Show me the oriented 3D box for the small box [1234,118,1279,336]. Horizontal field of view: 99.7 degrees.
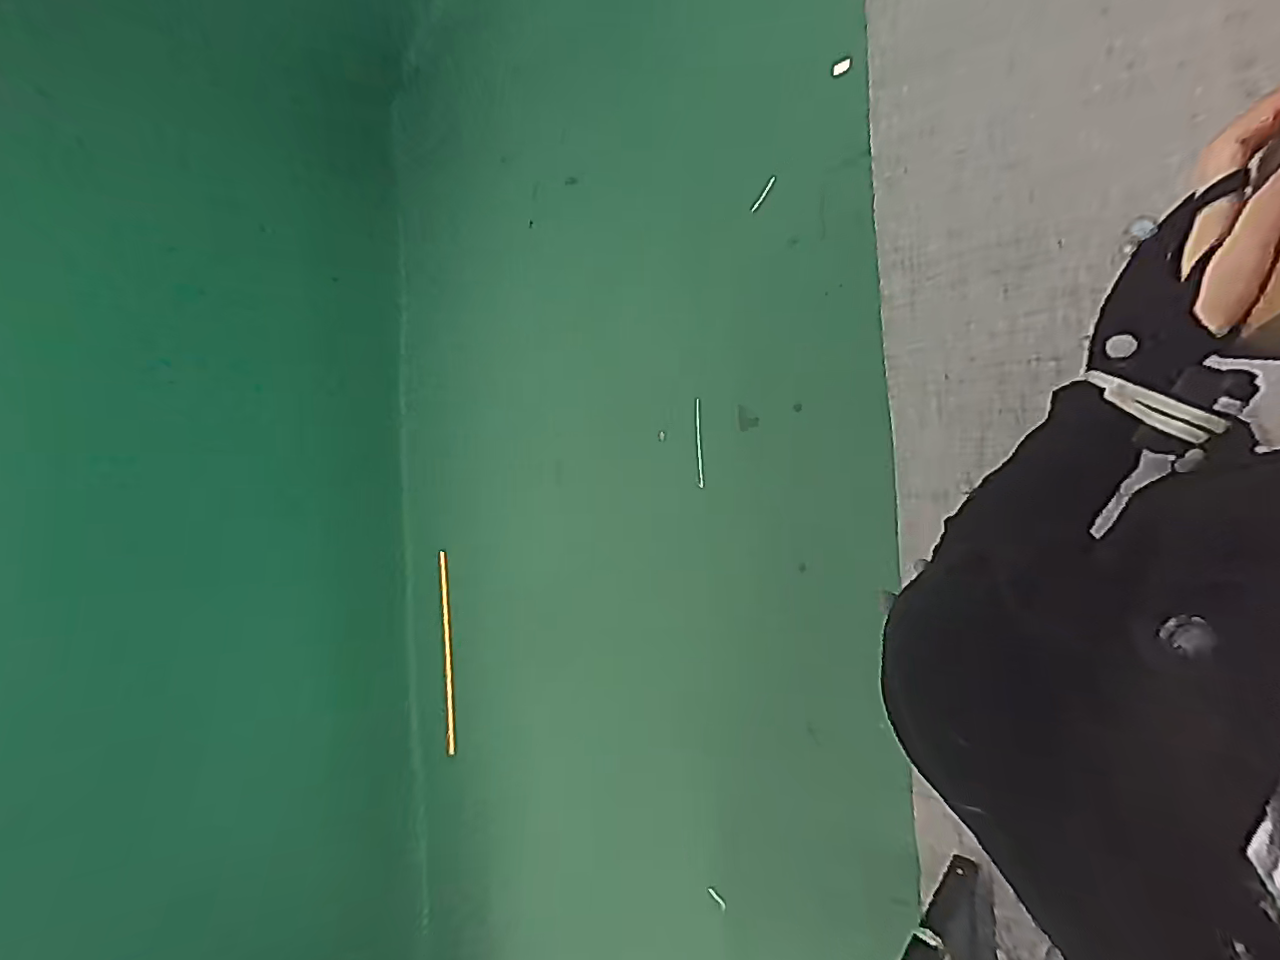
[{"bbox_3d":[0.437,-0.166,0.256,0.168,0.176,0.179,13,95,34],"label":"small box"}]
